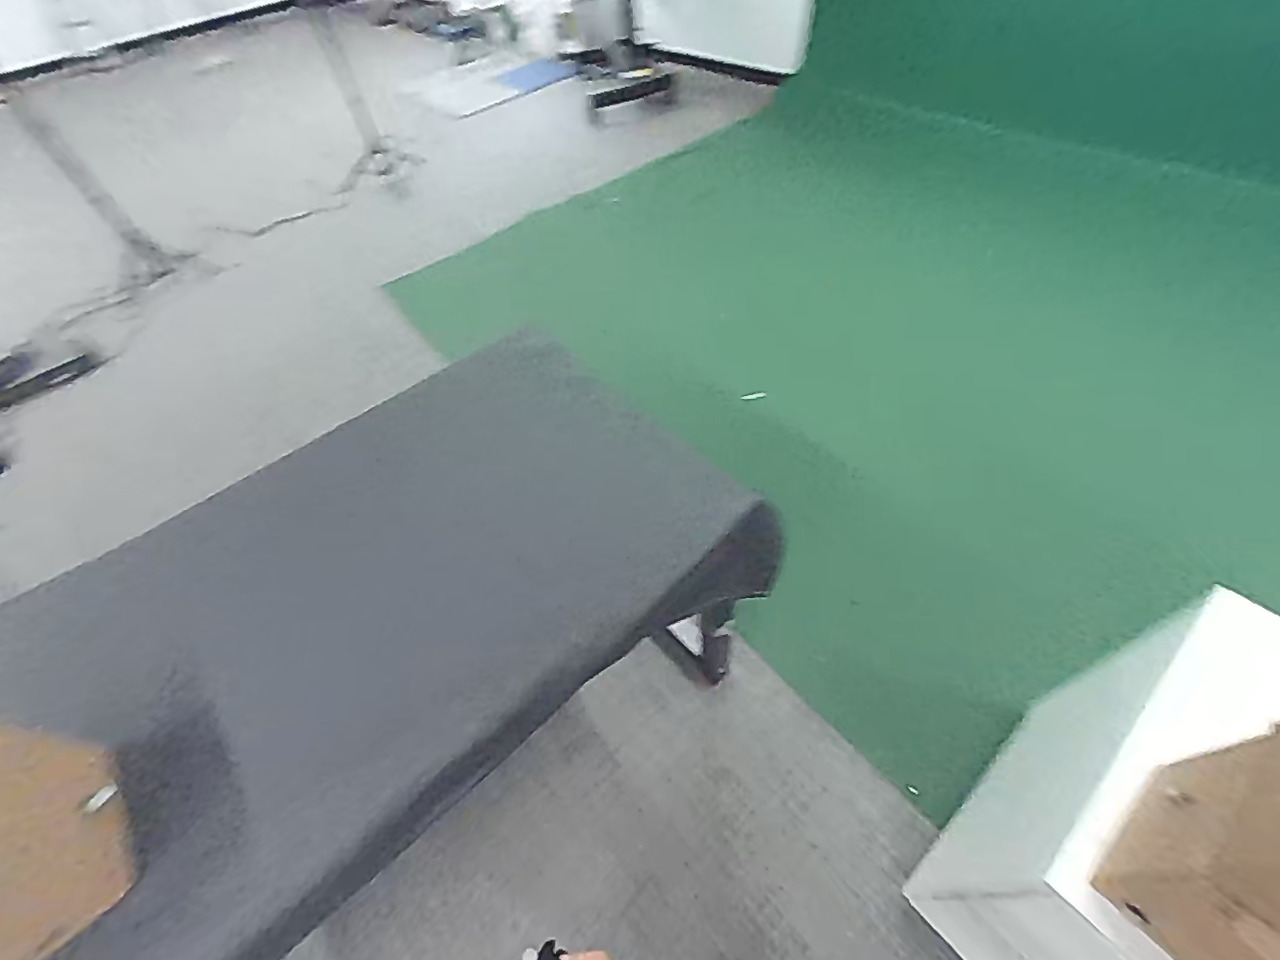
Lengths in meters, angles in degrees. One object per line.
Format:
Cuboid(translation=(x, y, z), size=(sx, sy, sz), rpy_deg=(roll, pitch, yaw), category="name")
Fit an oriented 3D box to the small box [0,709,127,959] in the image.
Cuboid(translation=(-0.627, 0.341, 0.488), size=(0.168, 0.176, 0.179), rpy_deg=(-37, 57, -22), category="small box")
